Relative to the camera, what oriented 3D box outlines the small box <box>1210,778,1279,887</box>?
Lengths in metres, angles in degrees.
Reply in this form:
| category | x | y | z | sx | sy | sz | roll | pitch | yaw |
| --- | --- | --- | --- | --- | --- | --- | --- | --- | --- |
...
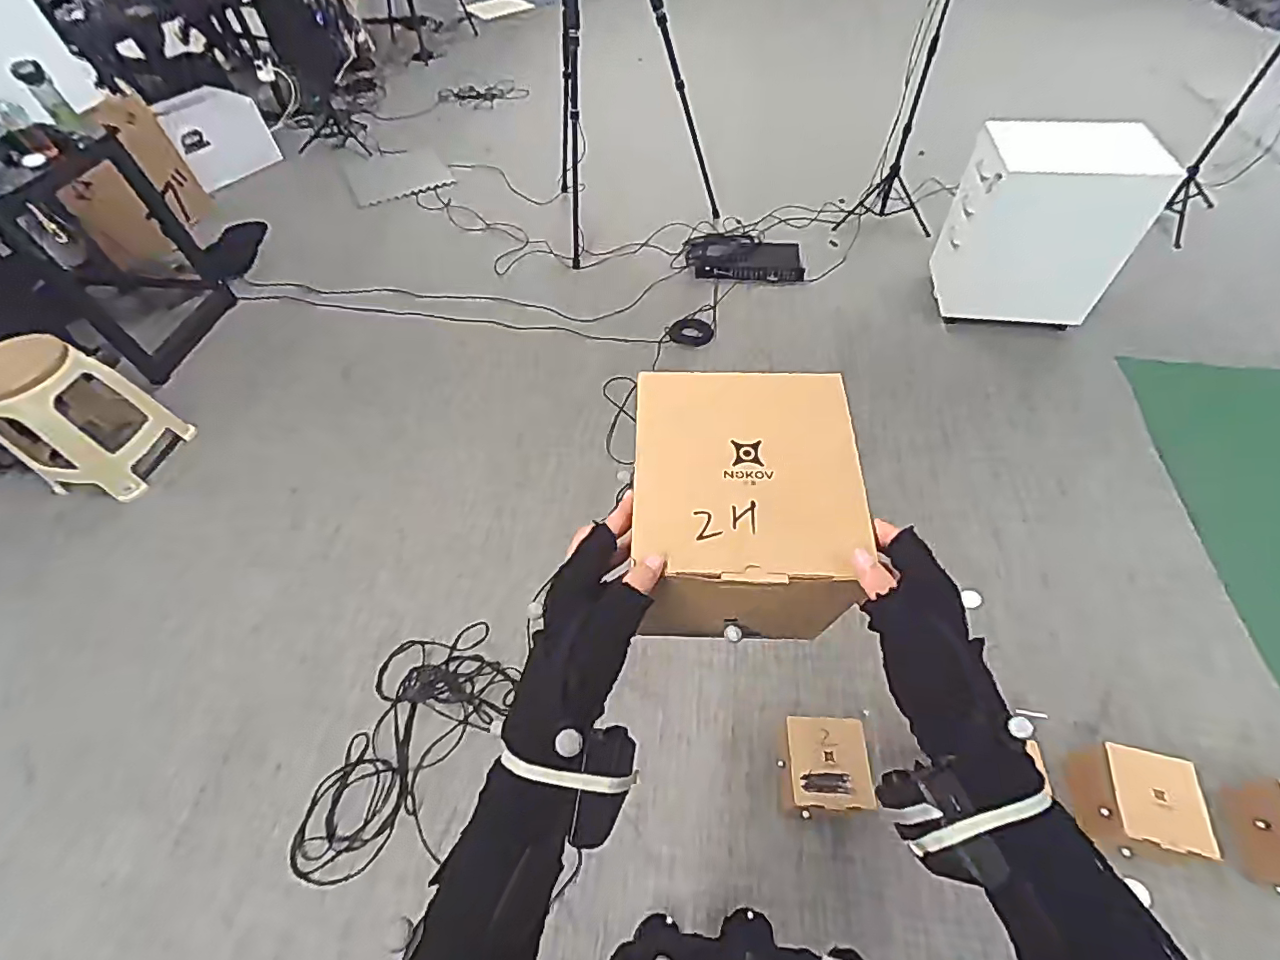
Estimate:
| category | x | y | z | sx | sy | sz | roll | pitch | yaw |
| --- | --- | --- | --- | --- | --- | --- | --- | --- | --- |
| small box | 1.347 | 0.731 | 1.101 | 0.168 | 0.176 | 0.179 | 6 | 53 | 8 |

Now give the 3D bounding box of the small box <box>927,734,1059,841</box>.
| category | x | y | z | sx | sy | sz | roll | pitch | yaw |
| --- | --- | --- | --- | --- | --- | --- | --- | --- | --- |
| small box | 0.751 | 0.670 | 1.177 | 0.168 | 0.176 | 0.179 | 2 | 55 | 6 |

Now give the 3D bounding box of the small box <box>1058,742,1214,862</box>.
| category | x | y | z | sx | sy | sz | roll | pitch | yaw |
| --- | --- | --- | --- | --- | --- | --- | --- | --- | --- |
| small box | 1.035 | 0.687 | 1.151 | 0.168 | 0.176 | 0.179 | 10 | 55 | 10 |
